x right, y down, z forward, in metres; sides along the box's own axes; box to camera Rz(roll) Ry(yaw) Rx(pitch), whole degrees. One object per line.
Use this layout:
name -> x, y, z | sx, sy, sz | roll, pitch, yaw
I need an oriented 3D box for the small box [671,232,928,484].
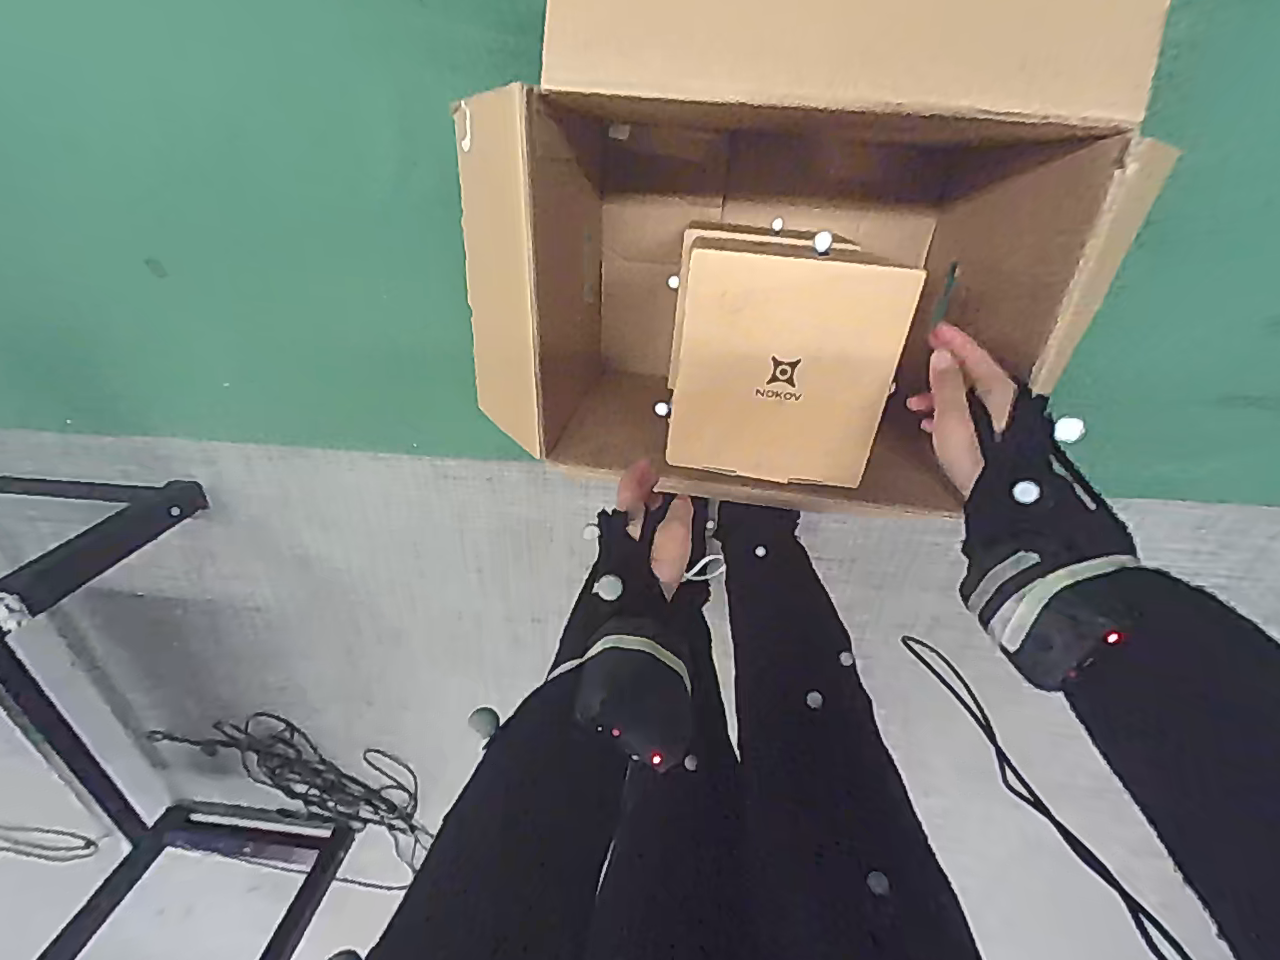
small box -> 0.121, -0.119, 0.487 | 0.168, 0.176, 0.179 | 7, 119, 3
